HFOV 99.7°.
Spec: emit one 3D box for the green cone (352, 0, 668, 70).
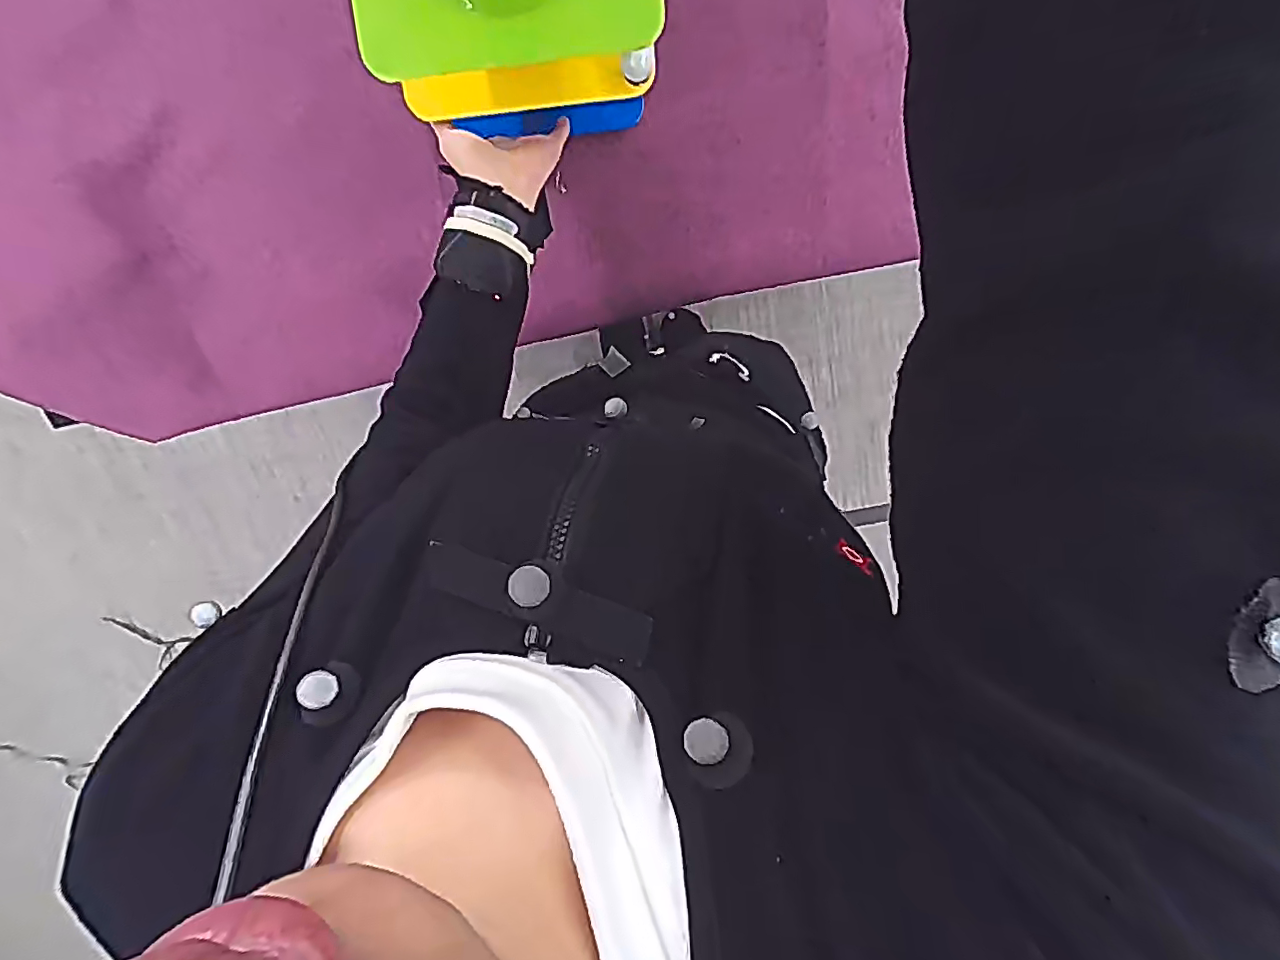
[{"bbox_3d":[-0.095,-0.337,0.157,0.200,0.368,0.202,-5,100,4],"label":"green cone"}]
